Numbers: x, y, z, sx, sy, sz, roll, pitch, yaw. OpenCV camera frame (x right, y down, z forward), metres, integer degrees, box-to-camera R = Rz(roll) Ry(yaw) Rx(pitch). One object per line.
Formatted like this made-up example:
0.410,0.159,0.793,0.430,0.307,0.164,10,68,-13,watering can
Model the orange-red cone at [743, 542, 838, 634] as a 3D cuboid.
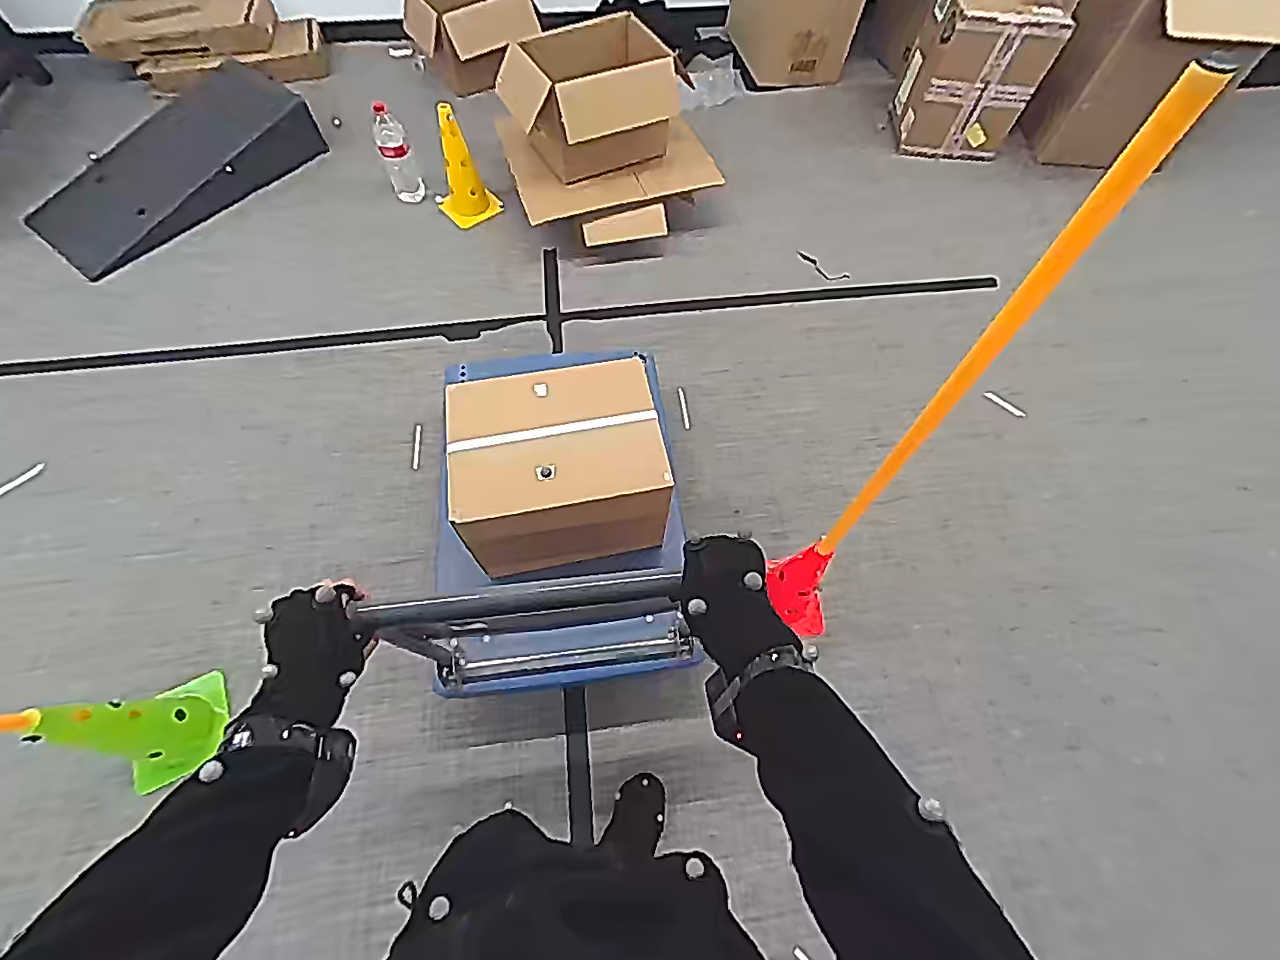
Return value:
0.373,0.217,1.230,0.199,0.360,0.198,0,63,-2,orange-red cone
